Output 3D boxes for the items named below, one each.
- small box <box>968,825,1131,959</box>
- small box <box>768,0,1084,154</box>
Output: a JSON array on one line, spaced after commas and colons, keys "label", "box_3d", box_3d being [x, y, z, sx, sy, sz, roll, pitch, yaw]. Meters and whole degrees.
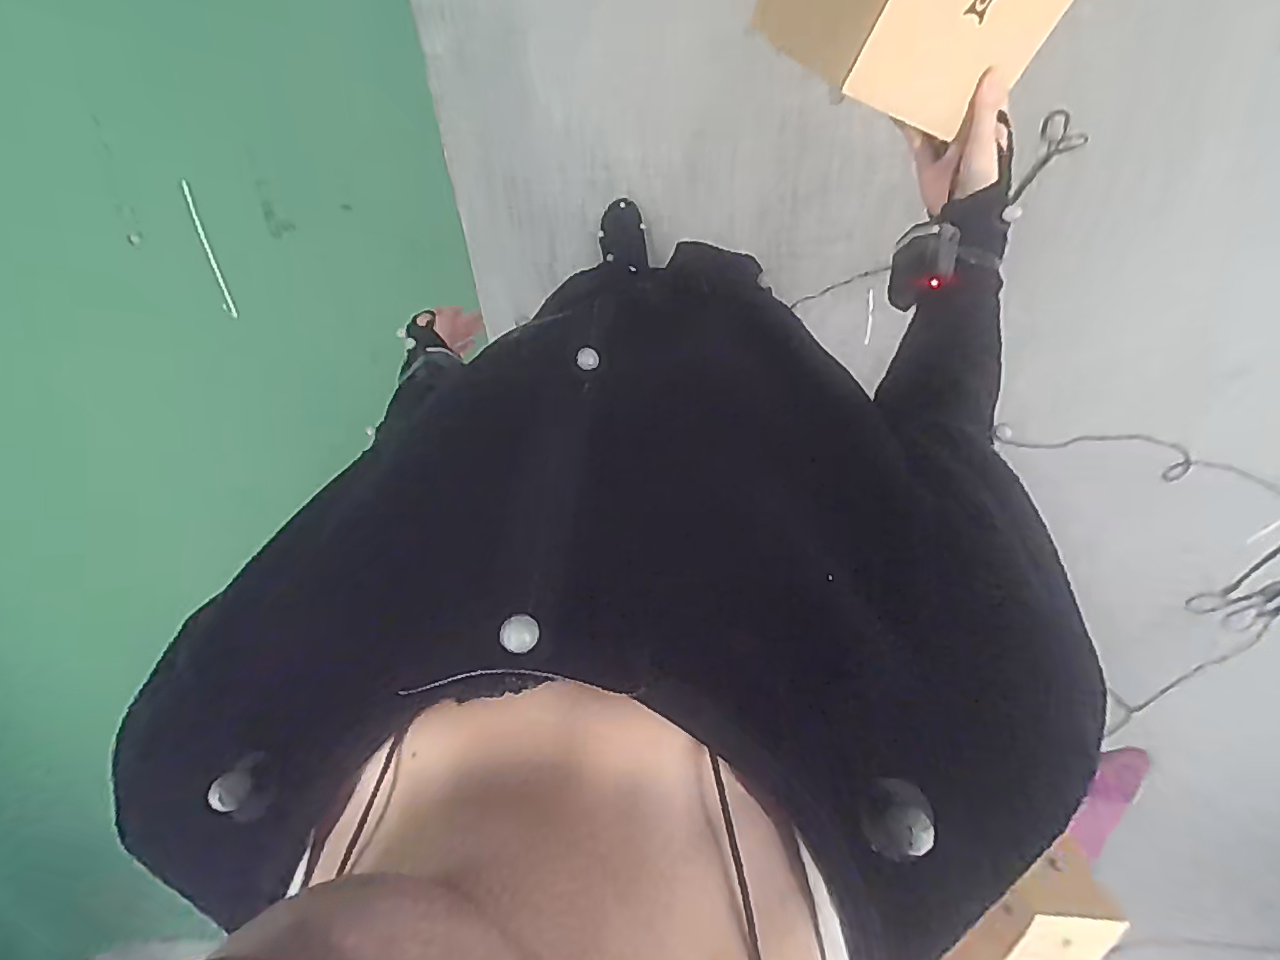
[{"label": "small box", "box_3d": [0.787, 0.814, 1.065, 0.168, 0.176, 0.179, 4, 116, 1]}, {"label": "small box", "box_3d": [0.229, -0.409, 0.437, 0.168, 0.176, 0.179, -1, 139, -28]}]
